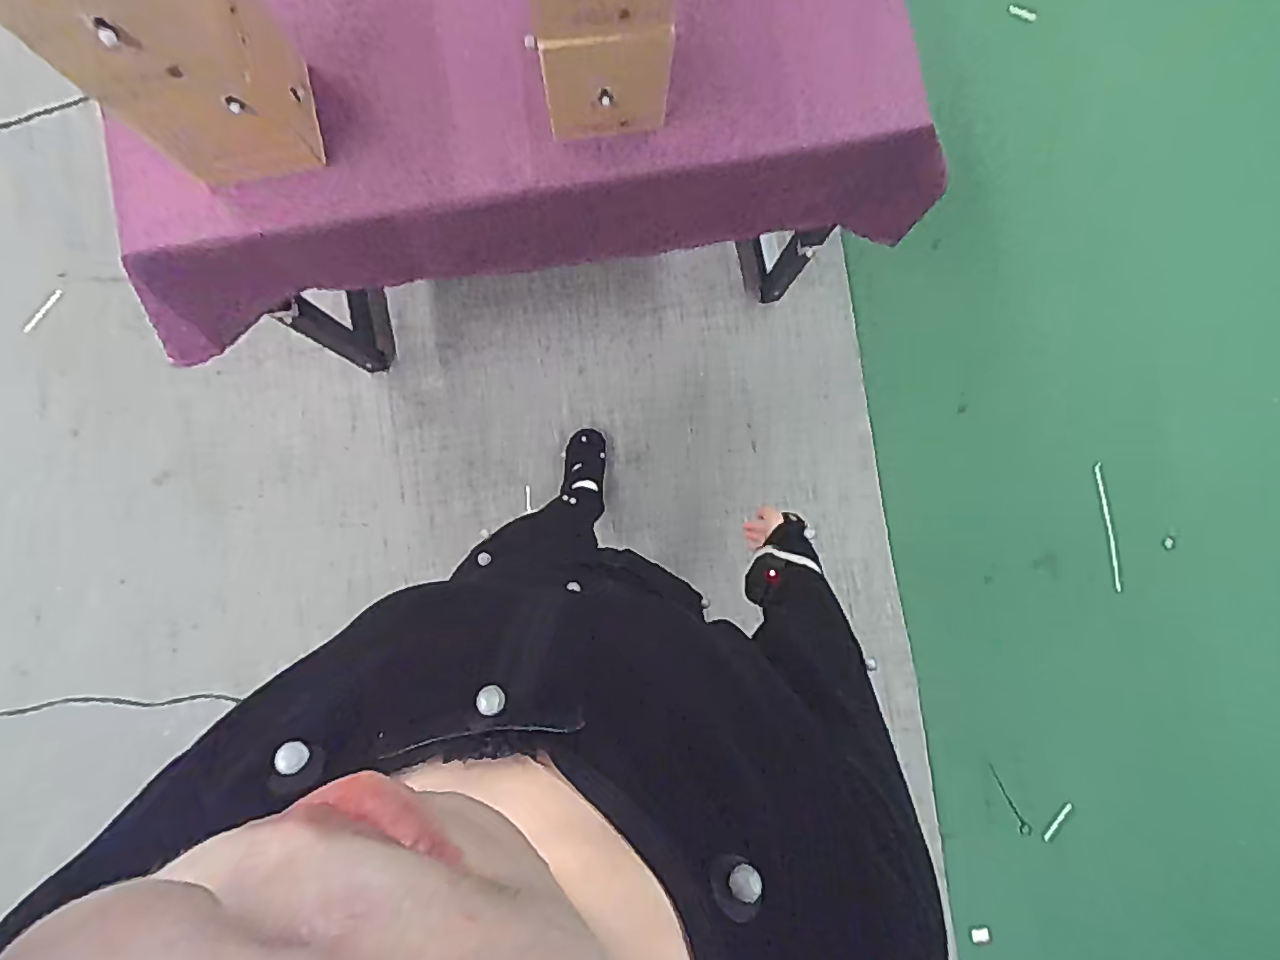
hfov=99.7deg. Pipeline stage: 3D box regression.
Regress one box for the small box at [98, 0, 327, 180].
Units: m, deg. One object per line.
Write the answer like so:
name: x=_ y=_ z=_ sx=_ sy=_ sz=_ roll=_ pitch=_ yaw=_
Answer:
small box: x=-0.548 y=-0.524 z=0.704 sx=0.179 sy=0.176 sz=0.168 roll=-12 pitch=87 yaw=-4

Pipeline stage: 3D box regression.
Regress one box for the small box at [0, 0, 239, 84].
small box: x=-0.545 y=-0.537 z=0.540 sx=0.168 sy=0.176 sz=0.179 roll=-12 pitch=87 yaw=-5

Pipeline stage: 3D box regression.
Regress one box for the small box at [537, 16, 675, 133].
small box: x=-0.052 y=-0.604 z=0.731 sx=0.168 sy=0.176 sz=0.179 roll=-9 pitch=87 yaw=-3

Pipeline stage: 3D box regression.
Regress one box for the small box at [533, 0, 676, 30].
small box: x=-0.045 y=-0.618 z=0.568 sx=0.168 sy=0.176 sz=0.179 roll=-7 pitch=86 yaw=-3
